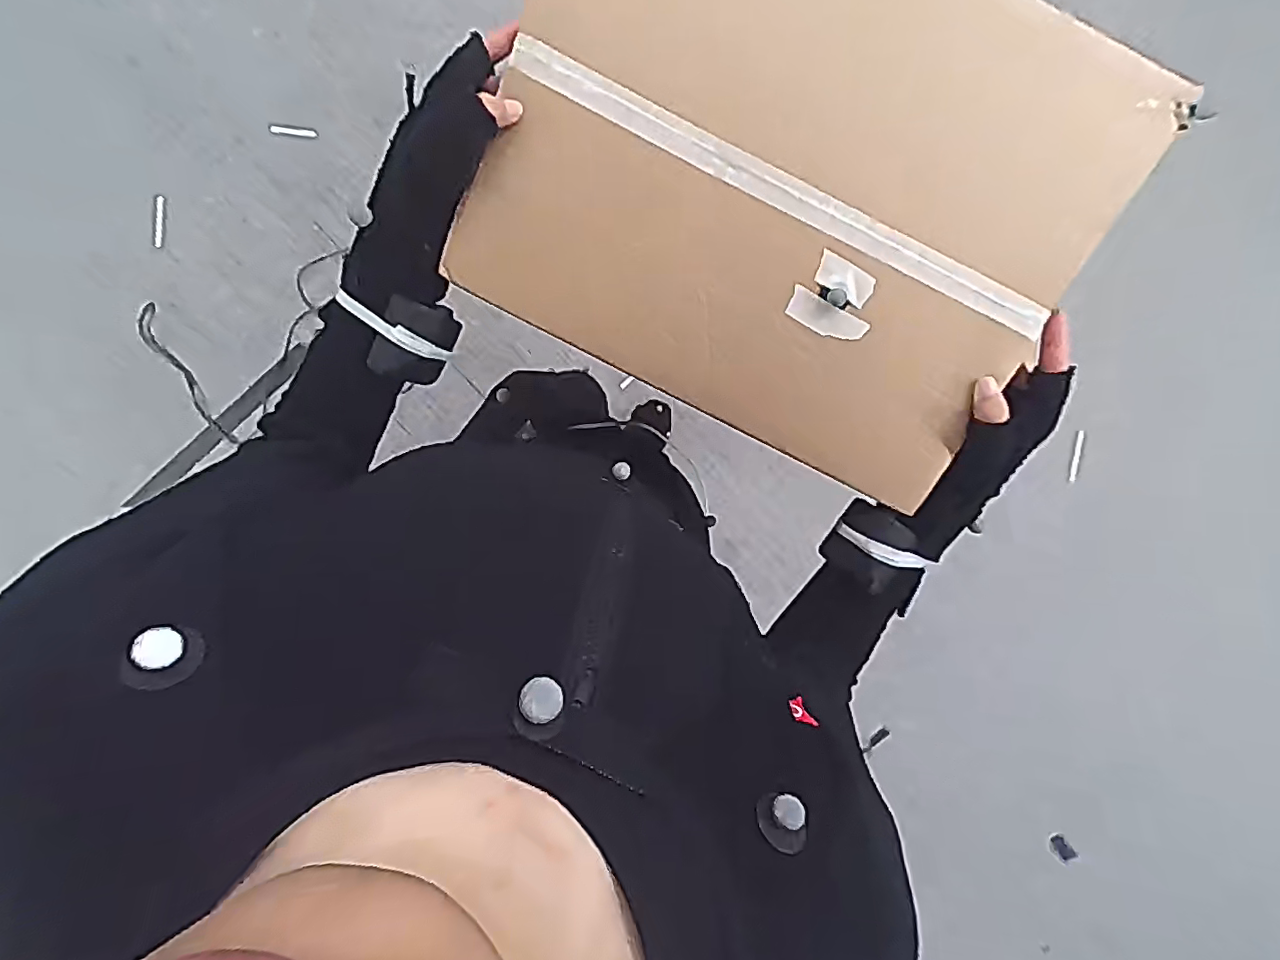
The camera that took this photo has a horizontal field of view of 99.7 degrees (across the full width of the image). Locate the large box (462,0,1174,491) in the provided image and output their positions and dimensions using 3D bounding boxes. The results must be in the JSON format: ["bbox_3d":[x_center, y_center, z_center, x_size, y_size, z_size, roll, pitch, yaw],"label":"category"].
[{"bbox_3d":[0.114,-0.244,0.523,0.408,0.320,0.320,27,107,-3],"label":"large box"}]
